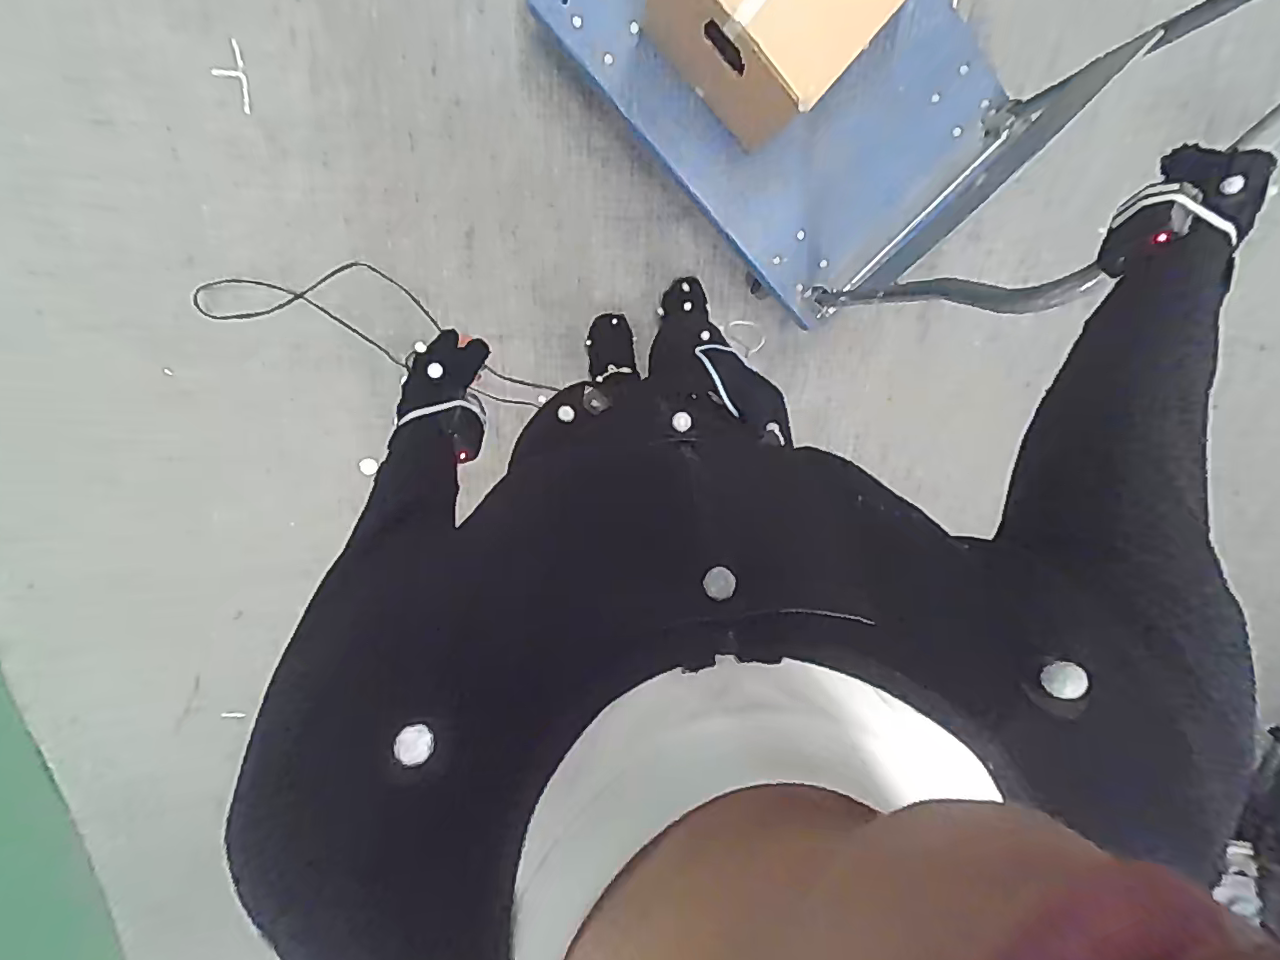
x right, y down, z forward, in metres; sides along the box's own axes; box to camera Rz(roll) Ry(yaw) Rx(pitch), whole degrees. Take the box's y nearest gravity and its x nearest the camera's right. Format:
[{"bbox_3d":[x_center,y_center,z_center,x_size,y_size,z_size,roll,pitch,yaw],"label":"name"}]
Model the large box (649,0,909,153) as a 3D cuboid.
[{"bbox_3d":[0.265,-0.840,0.877,0.320,0.320,0.408,40,103,-15],"label":"large box"}]
